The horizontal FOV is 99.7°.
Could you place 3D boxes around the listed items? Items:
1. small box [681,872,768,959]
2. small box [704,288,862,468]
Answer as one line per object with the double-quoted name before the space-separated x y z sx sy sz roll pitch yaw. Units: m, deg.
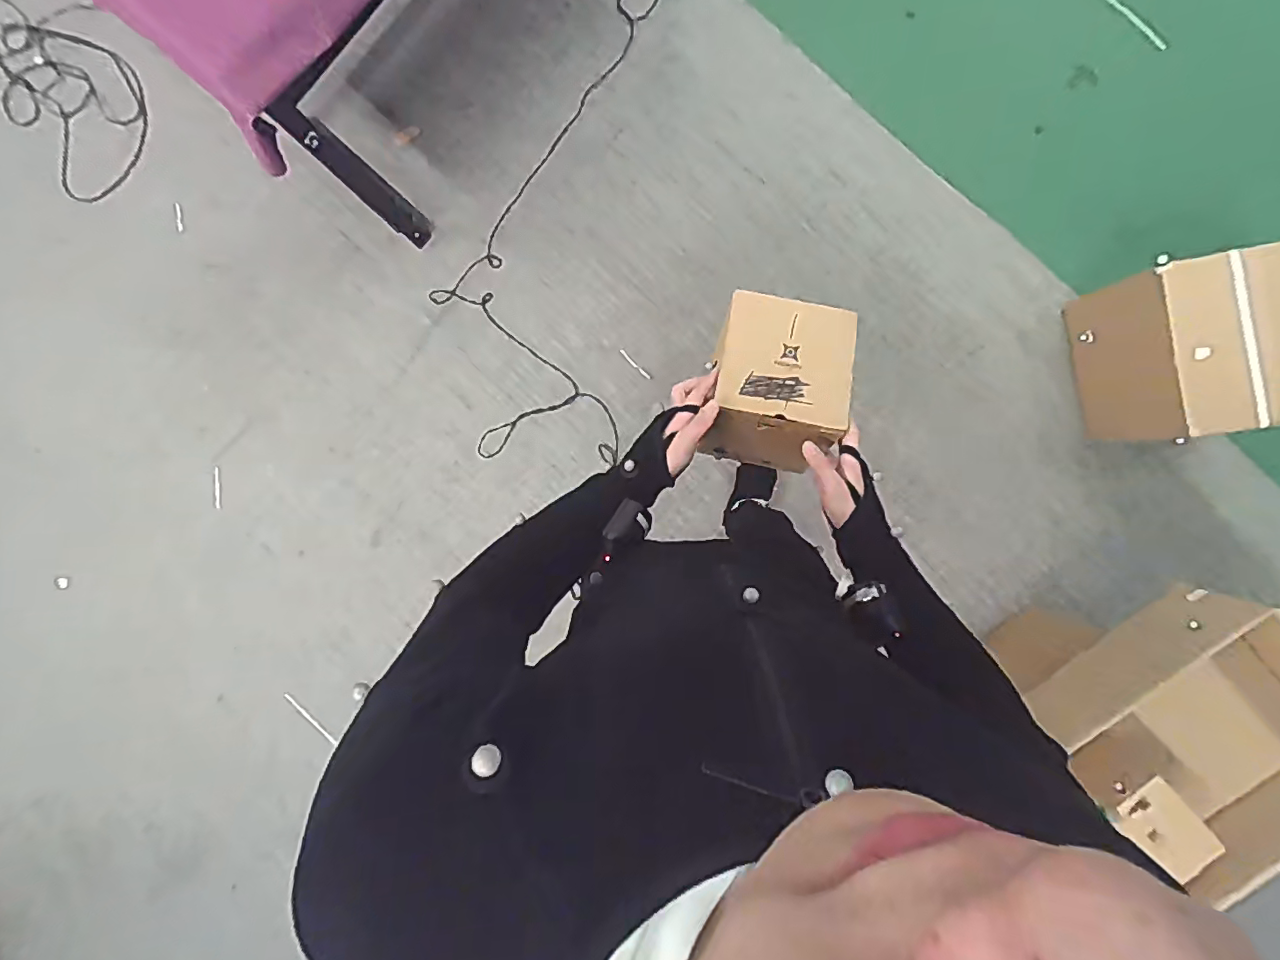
"small box" 0.197 1.051 1.234 0.168 0.176 0.179 -16 87 4
"small box" 0.189 -0.131 0.754 0.168 0.176 0.179 12 73 1
